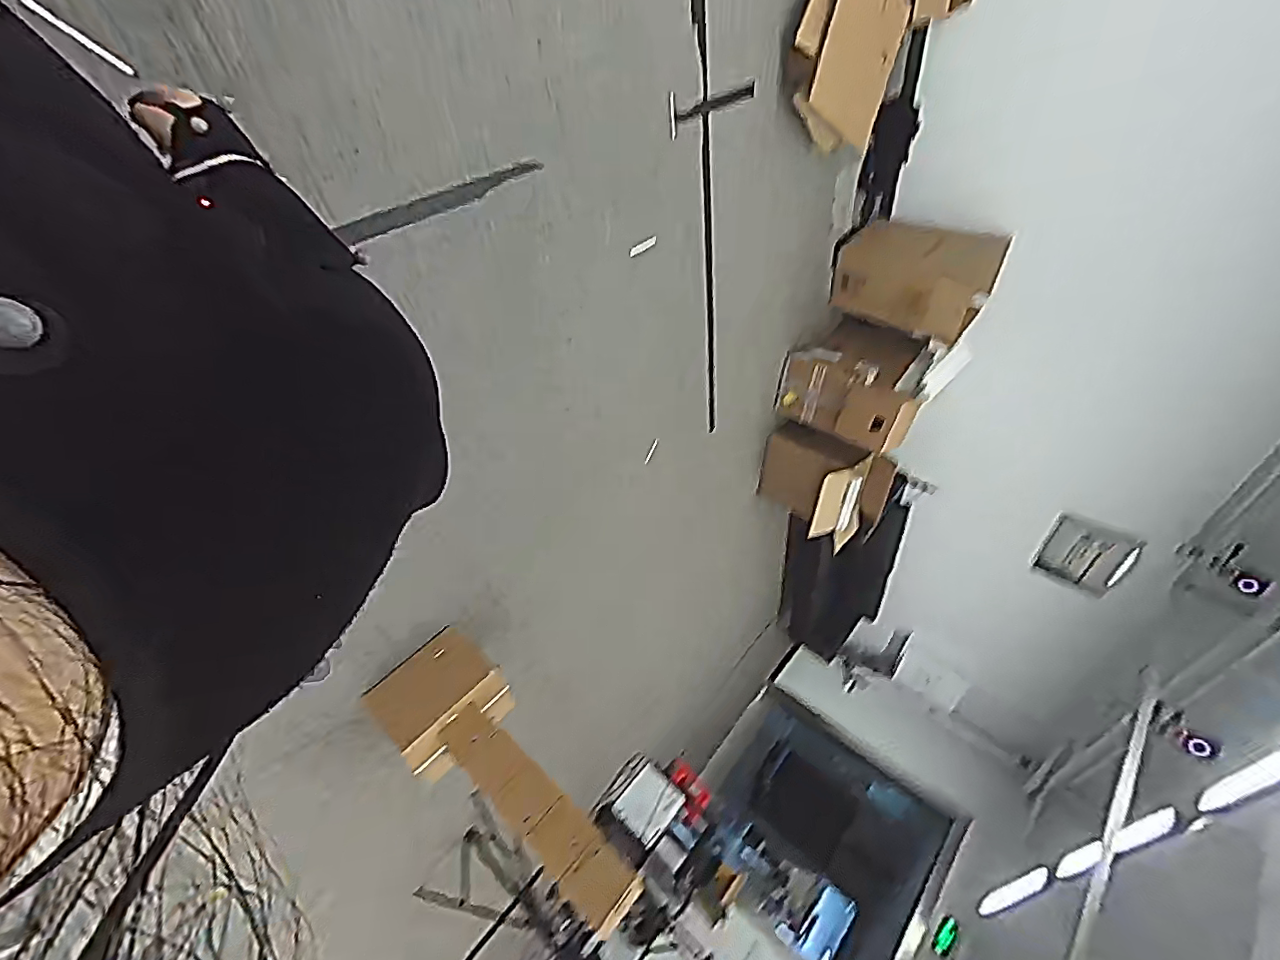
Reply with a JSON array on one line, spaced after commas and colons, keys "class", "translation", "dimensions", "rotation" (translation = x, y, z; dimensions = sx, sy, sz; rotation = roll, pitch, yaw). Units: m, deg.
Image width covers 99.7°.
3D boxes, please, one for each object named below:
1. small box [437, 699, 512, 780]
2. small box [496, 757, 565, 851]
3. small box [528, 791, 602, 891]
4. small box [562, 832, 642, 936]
[{"class": "small box", "translation": [-0.602, 0.939, 1.968], "dimensions": [0.179, 0.176, 0.168], "rotation": [-41, 141, -28]}, {"class": "small box", "translation": [-0.356, 1.071, 1.795], "dimensions": [0.179, 0.176, 0.168], "rotation": [-39, 141, -32]}, {"class": "small box", "translation": [-0.235, 1.136, 1.709], "dimensions": [0.179, 0.176, 0.168], "rotation": [-39, 140, -32]}, {"class": "small box", "translation": [-0.114, 1.204, 1.621], "dimensions": [0.168, 0.176, 0.179], "rotation": [-39, 141, -32]}]
